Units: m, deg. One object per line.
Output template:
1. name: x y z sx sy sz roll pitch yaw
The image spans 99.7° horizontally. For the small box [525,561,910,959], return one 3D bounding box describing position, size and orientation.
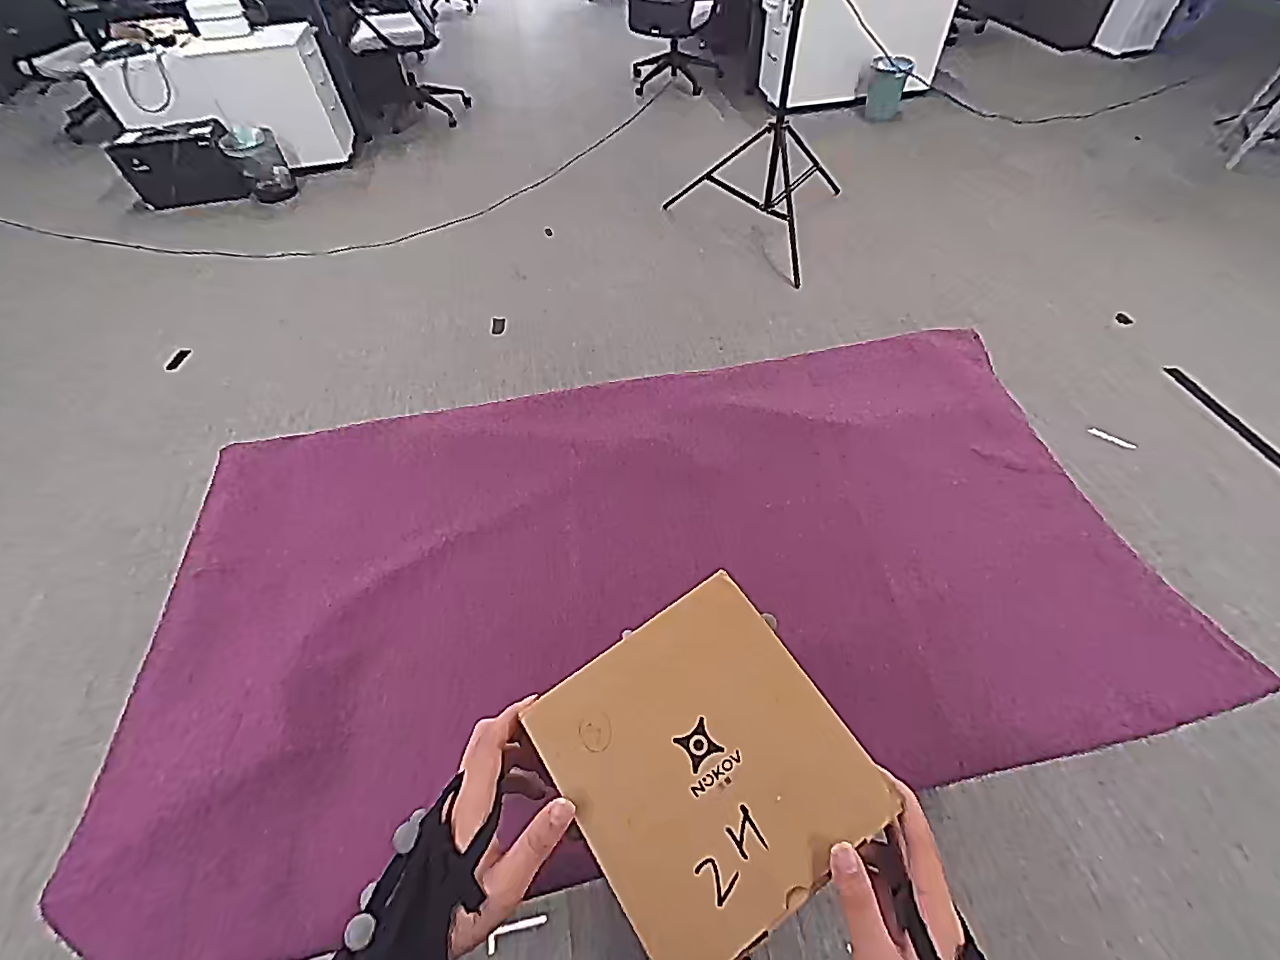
1. small box: 0.043 0.192 0.393 0.168 0.176 0.179 -33 70 -12
